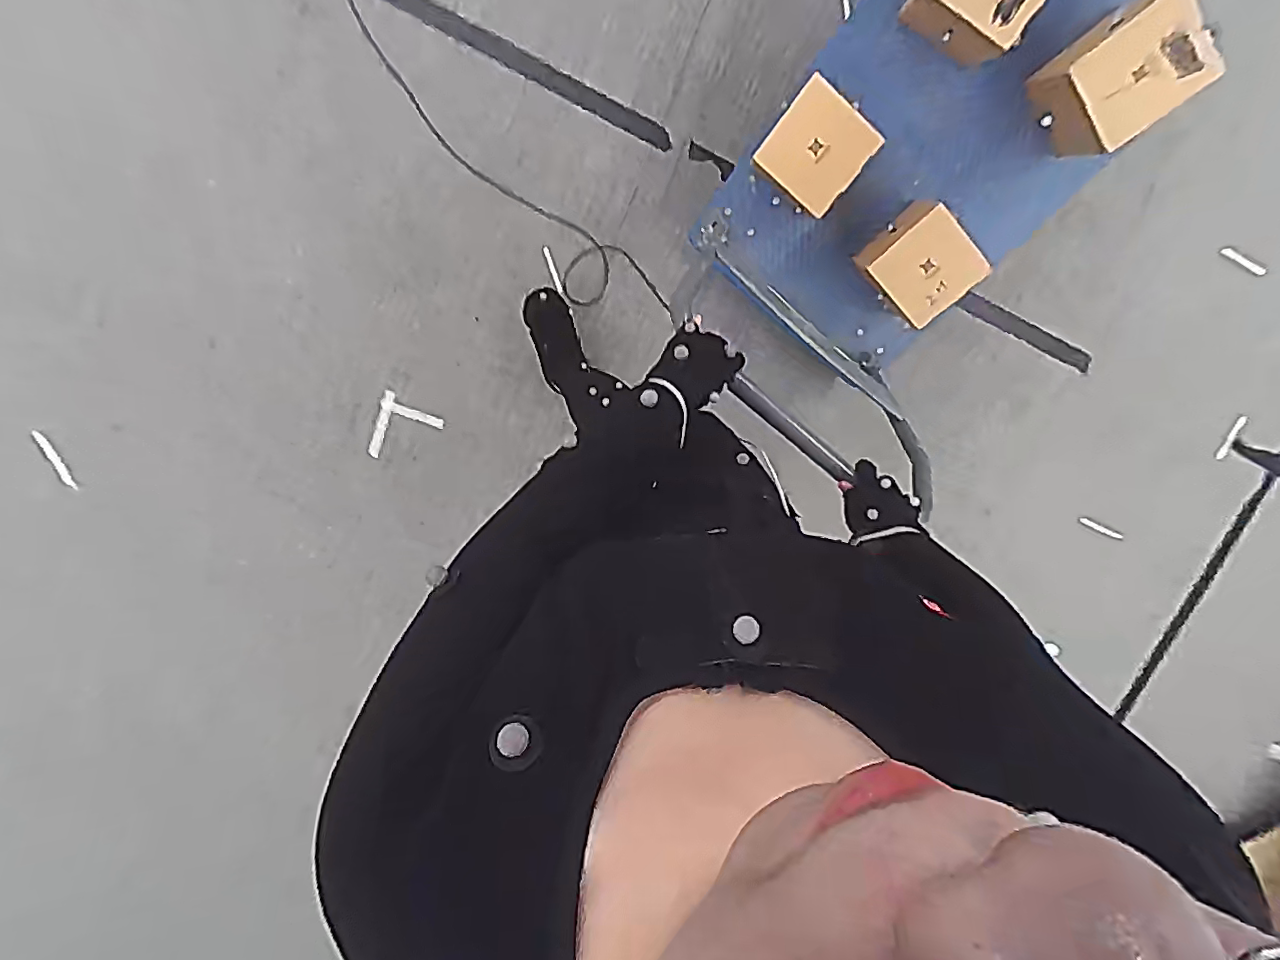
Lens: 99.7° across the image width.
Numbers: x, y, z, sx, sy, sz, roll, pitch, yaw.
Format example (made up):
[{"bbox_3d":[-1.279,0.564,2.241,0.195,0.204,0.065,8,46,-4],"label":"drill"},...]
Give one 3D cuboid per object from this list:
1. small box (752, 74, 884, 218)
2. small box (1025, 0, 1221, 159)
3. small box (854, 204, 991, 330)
[{"bbox_3d":[0.338,-0.646,1.067,0.179,0.176,0.168,36,117,-12],"label":"small box"},{"bbox_3d":[0.836,-0.702,0.954,0.179,0.176,0.168,-34,108,25],"label":"small box"},{"bbox_3d":[0.578,-0.448,1.133,0.179,0.176,0.168,43,117,-14],"label":"small box"}]
